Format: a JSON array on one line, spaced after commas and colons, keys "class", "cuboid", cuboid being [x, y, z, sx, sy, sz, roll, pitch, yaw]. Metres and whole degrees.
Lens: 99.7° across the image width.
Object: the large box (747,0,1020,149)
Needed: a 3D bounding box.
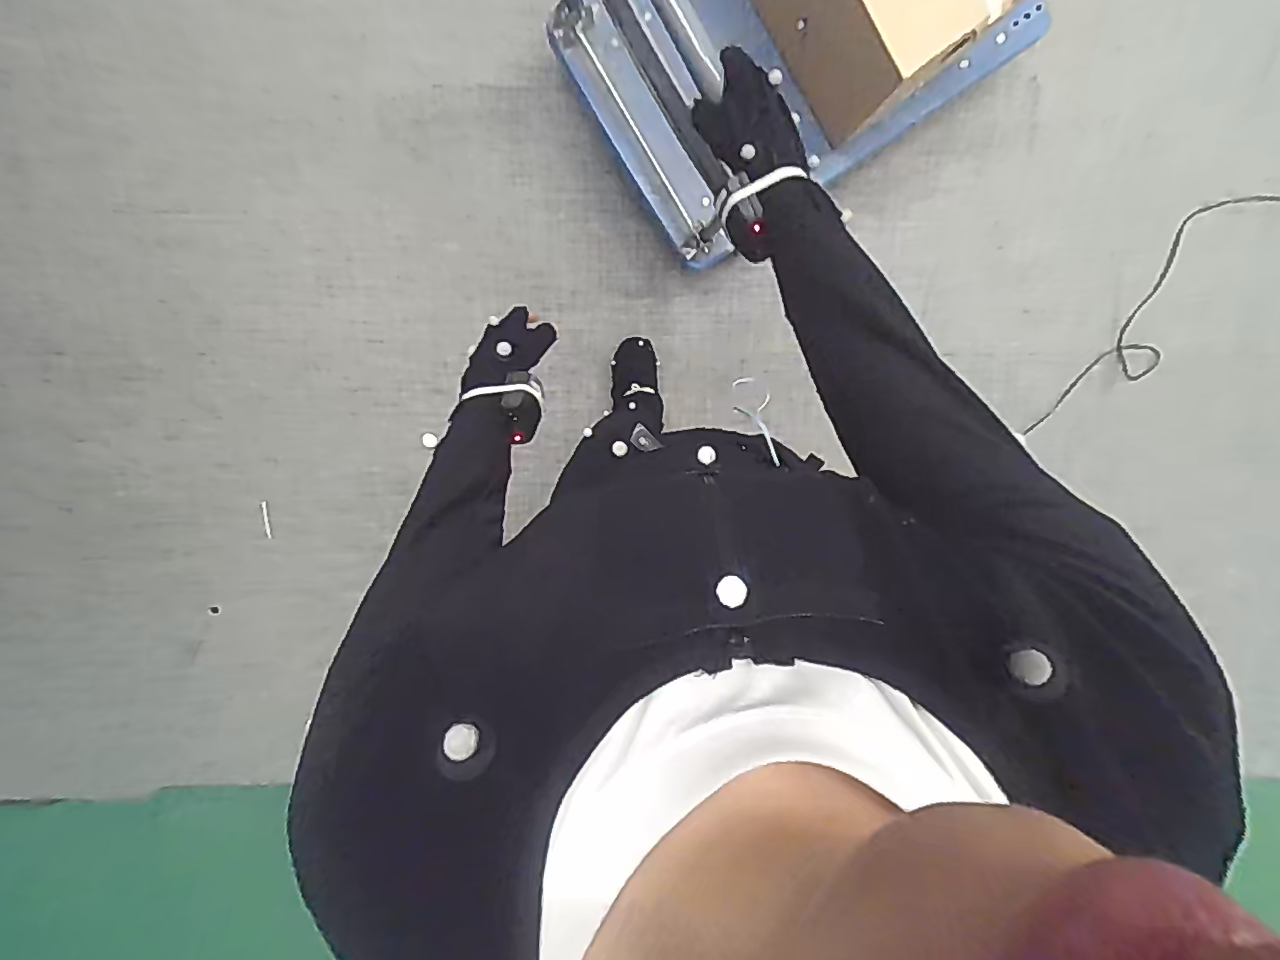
[{"class": "large box", "cuboid": [0.420, -0.903, 0.947, 0.320, 0.320, 0.408, -35, 100, 6]}]
